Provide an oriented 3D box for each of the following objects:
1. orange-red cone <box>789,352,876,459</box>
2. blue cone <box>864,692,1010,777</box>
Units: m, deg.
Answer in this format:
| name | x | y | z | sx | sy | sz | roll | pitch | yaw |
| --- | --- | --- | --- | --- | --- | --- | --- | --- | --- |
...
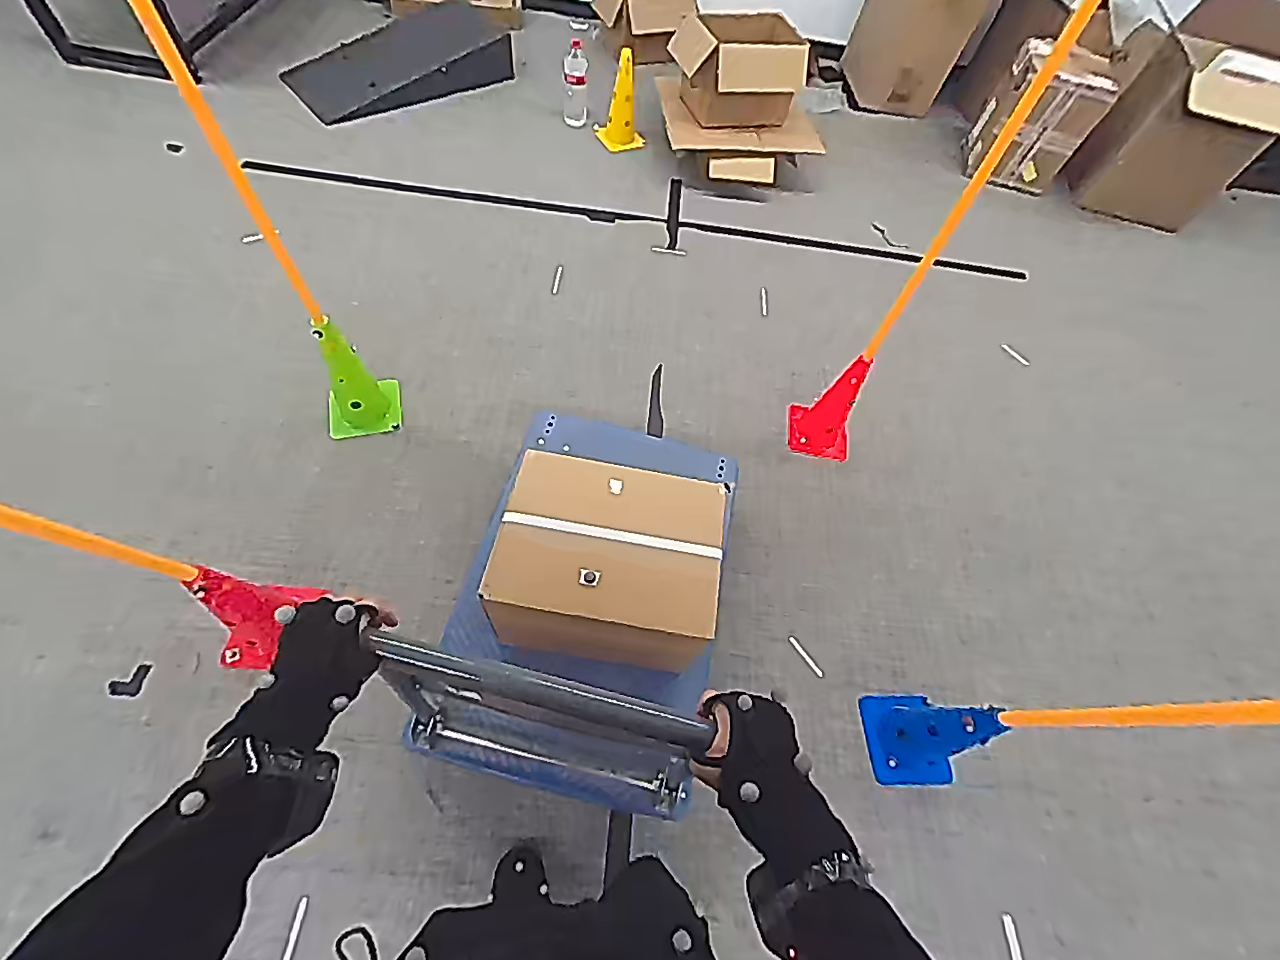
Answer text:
| name | x | y | z | sx | sy | sz | roll | pitch | yaw |
| --- | --- | --- | --- | --- | --- | --- | --- | --- | --- |
| orange-red cone | 0.616 | -0.253 | 1.642 | 0.199 | 0.360 | 0.198 | 13 | 59 | -1 |
| blue cone | 0.678 | 0.538 | 1.194 | 0.193 | 0.380 | 0.192 | 4 | 58 | -6 |
